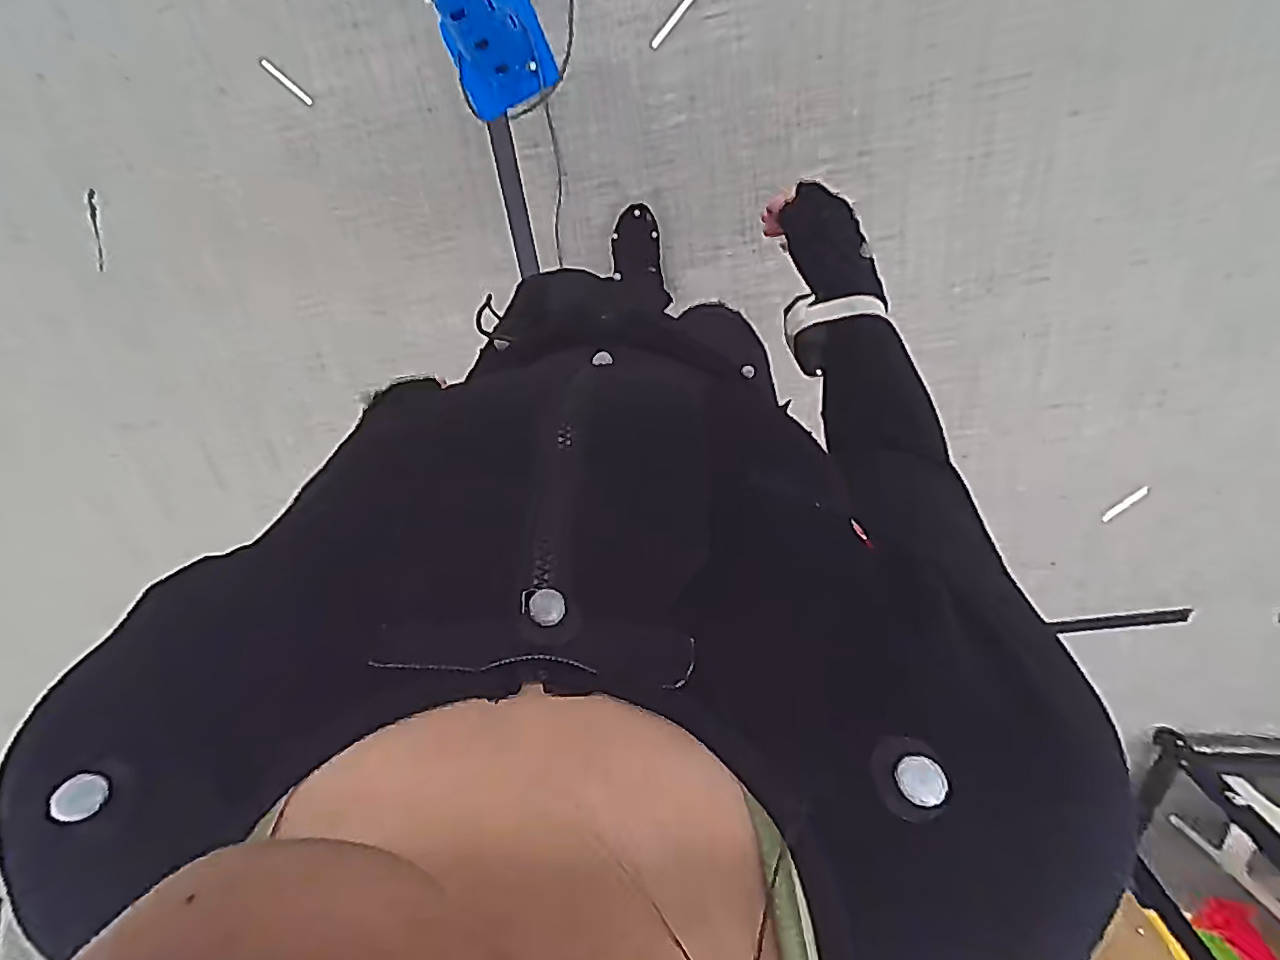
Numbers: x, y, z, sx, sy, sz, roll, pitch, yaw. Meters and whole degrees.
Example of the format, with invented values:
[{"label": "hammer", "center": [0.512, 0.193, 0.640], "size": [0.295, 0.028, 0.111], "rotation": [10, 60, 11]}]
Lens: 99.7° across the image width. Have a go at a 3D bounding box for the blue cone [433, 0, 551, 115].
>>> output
[{"label": "blue cone", "center": [-0.305, -0.831, 0.968], "size": [0.193, 0.380, 0.192], "rotation": [-23, 111, 12]}]
